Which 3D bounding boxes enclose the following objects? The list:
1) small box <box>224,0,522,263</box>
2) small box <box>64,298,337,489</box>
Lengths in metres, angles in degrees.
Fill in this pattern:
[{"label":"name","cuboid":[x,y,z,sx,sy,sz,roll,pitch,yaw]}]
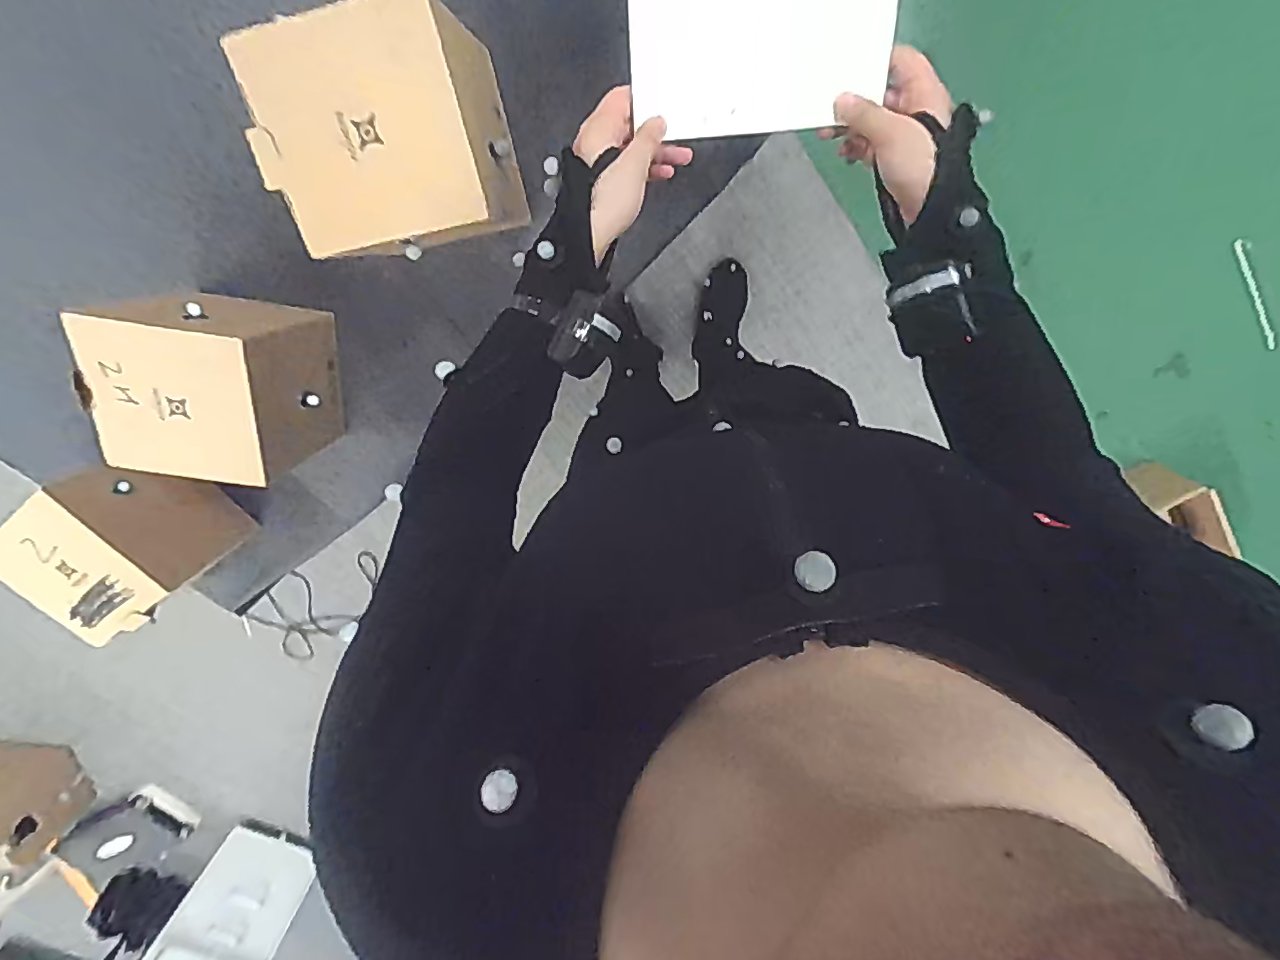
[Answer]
[{"label":"small box","cuboid":[-0.225,-0.316,0.518,0.179,0.176,0.168,-9,114,8]},{"label":"small box","cuboid":[-0.477,-0.108,0.627,0.179,0.176,0.168,9,115,-2]}]
